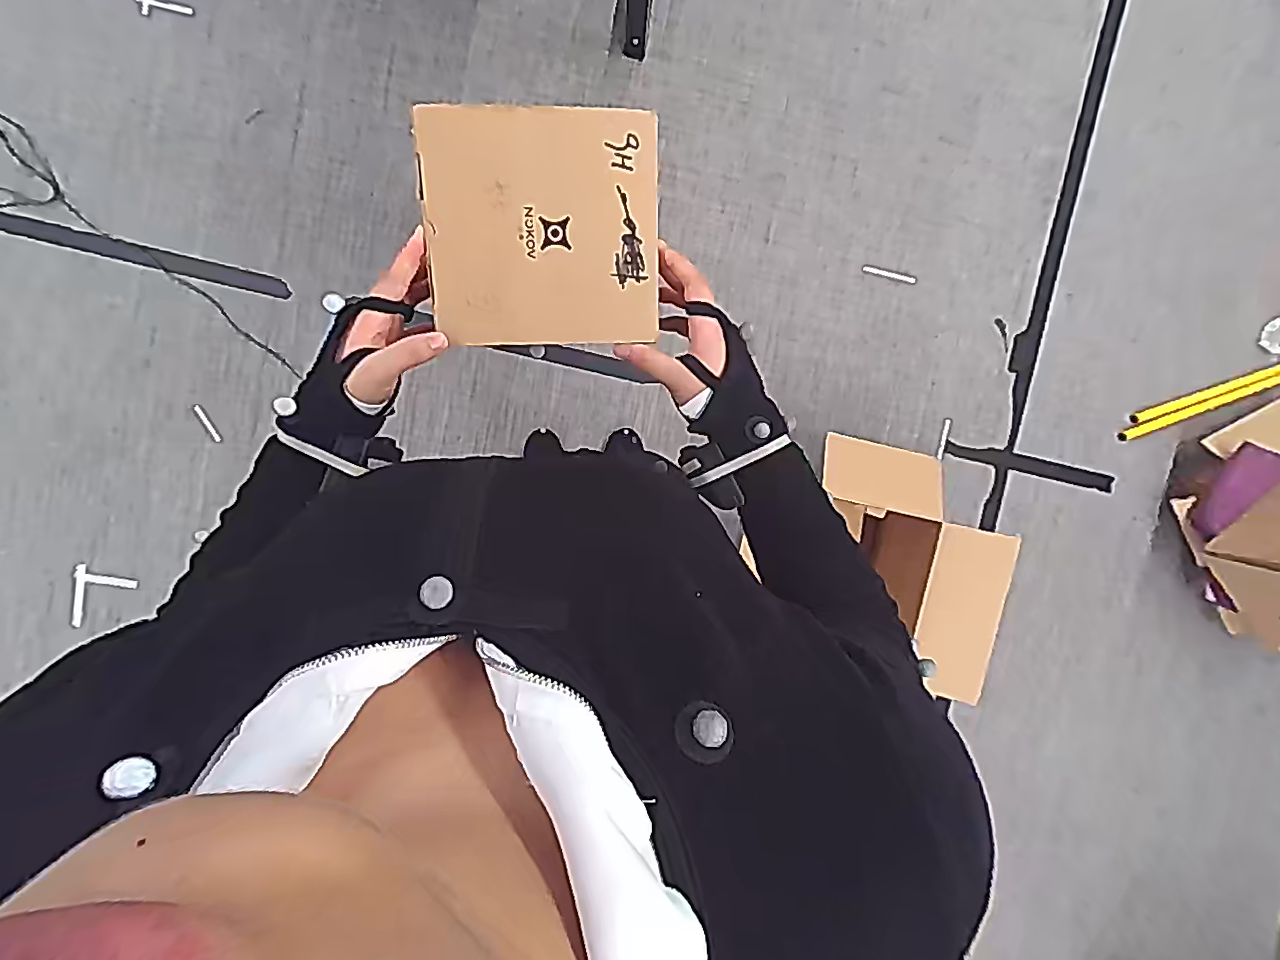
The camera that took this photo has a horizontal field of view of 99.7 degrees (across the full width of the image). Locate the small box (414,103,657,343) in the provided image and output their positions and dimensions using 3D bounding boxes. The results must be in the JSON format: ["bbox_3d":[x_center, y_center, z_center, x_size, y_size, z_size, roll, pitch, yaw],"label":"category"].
[{"bbox_3d":[-0.081,-0.209,0.484,0.179,0.176,0.168,-2,105,-5],"label":"small box"}]
